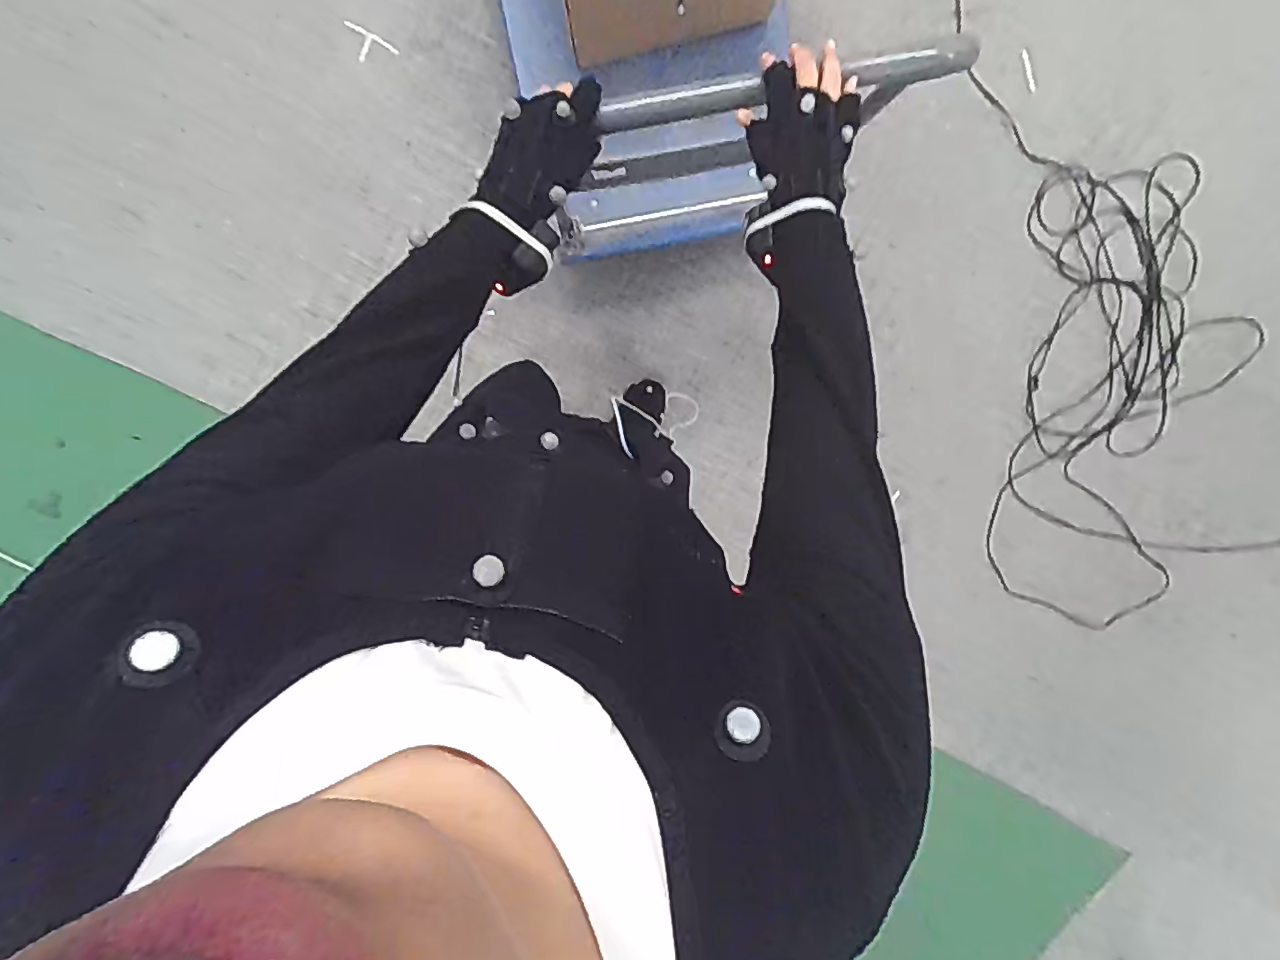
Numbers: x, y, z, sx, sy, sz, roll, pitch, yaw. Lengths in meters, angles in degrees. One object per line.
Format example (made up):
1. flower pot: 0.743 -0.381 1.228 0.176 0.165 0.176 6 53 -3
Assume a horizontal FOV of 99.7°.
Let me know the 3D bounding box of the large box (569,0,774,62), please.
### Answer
1. large box: 0.045 -1.020 0.941 0.408 0.320 0.320 -13 102 2
